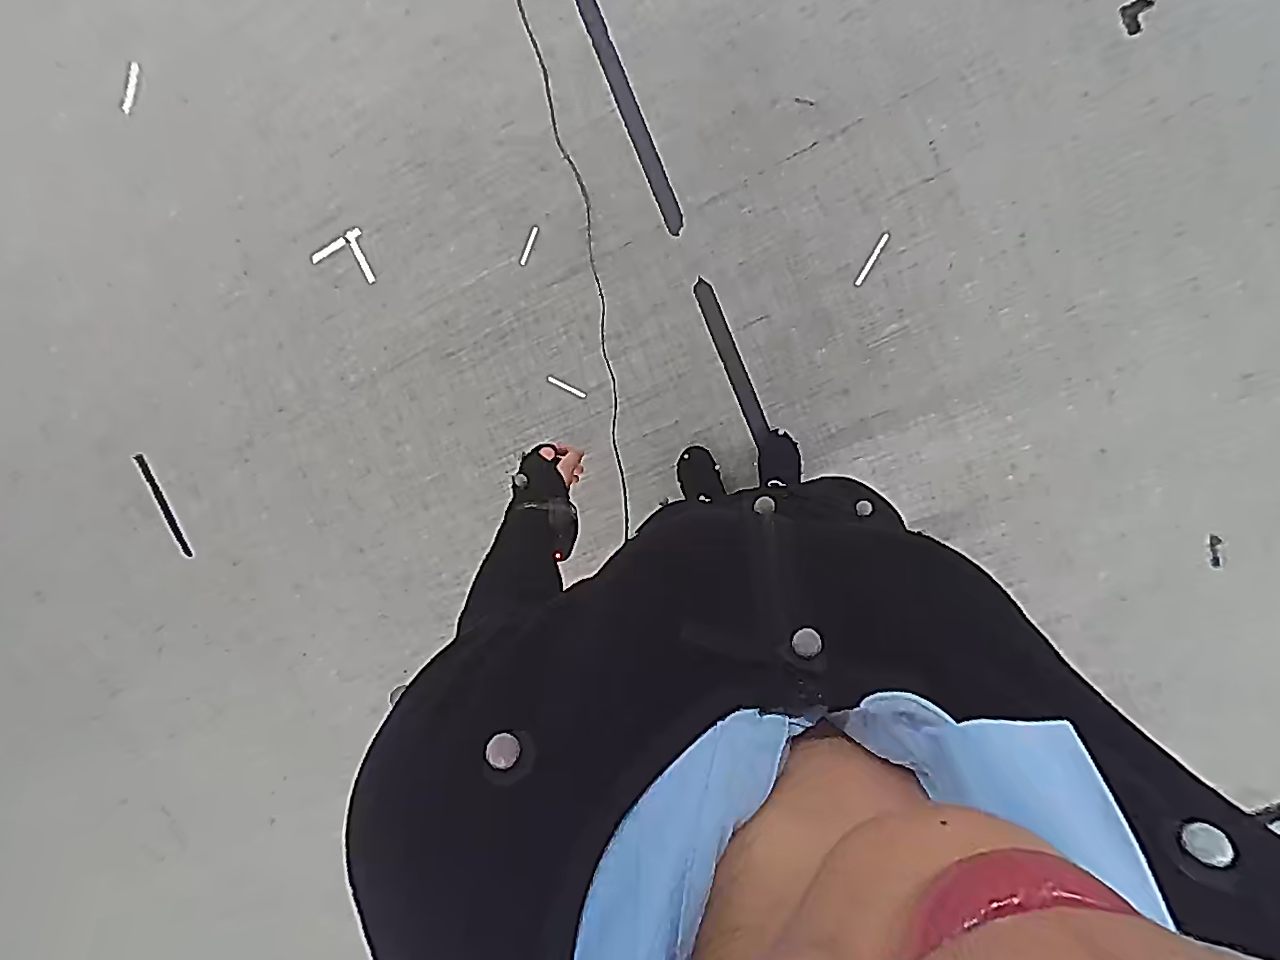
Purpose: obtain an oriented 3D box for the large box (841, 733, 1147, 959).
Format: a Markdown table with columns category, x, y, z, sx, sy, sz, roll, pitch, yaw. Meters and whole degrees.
| category | x | y | z | sx | sy | sz | roll | pitch | yaw |
| --- | --- | --- | --- | --- | --- | --- | --- | --- | --- |
| large box | 0.707 | 0.815 | 1.155 | 0.408 | 0.320 | 0.320 | -23 | 93 | 9 |
